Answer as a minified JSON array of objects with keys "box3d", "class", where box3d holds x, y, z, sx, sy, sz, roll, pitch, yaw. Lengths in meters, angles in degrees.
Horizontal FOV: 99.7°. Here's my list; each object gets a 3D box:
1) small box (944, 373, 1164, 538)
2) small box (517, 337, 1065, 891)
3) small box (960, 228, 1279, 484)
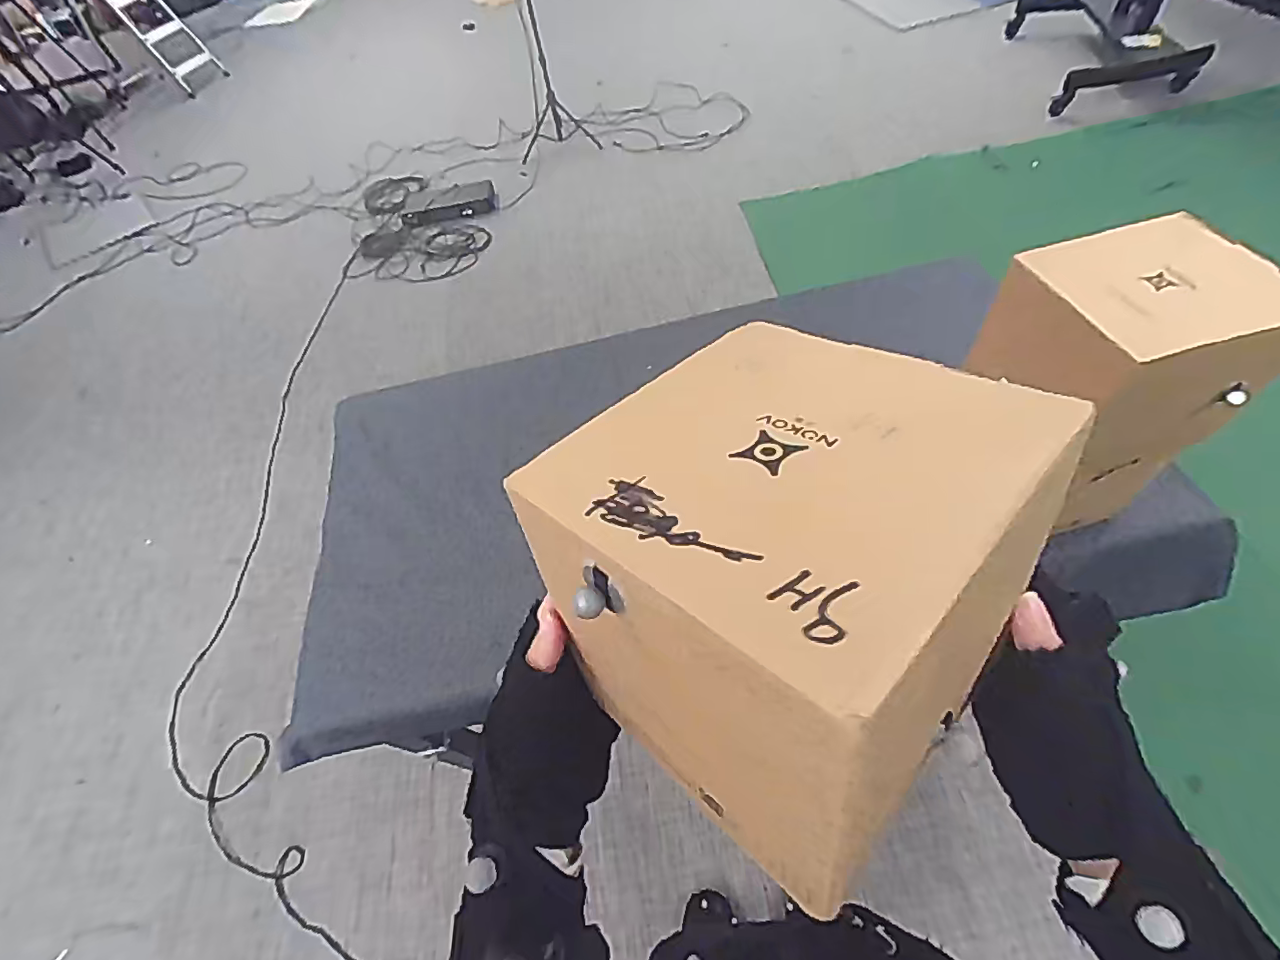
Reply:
[{"box3d":[0.491,-0.036,0.692,0.168,0.176,0.179,-16,53,-2],"class":"small box"},{"box3d":[0.070,0.050,0.278,0.179,0.176,0.168,-35,43,-29],"class":"small box"},{"box3d":[0.471,-0.121,0.556,0.179,0.176,0.168,-15,53,0],"class":"small box"}]
